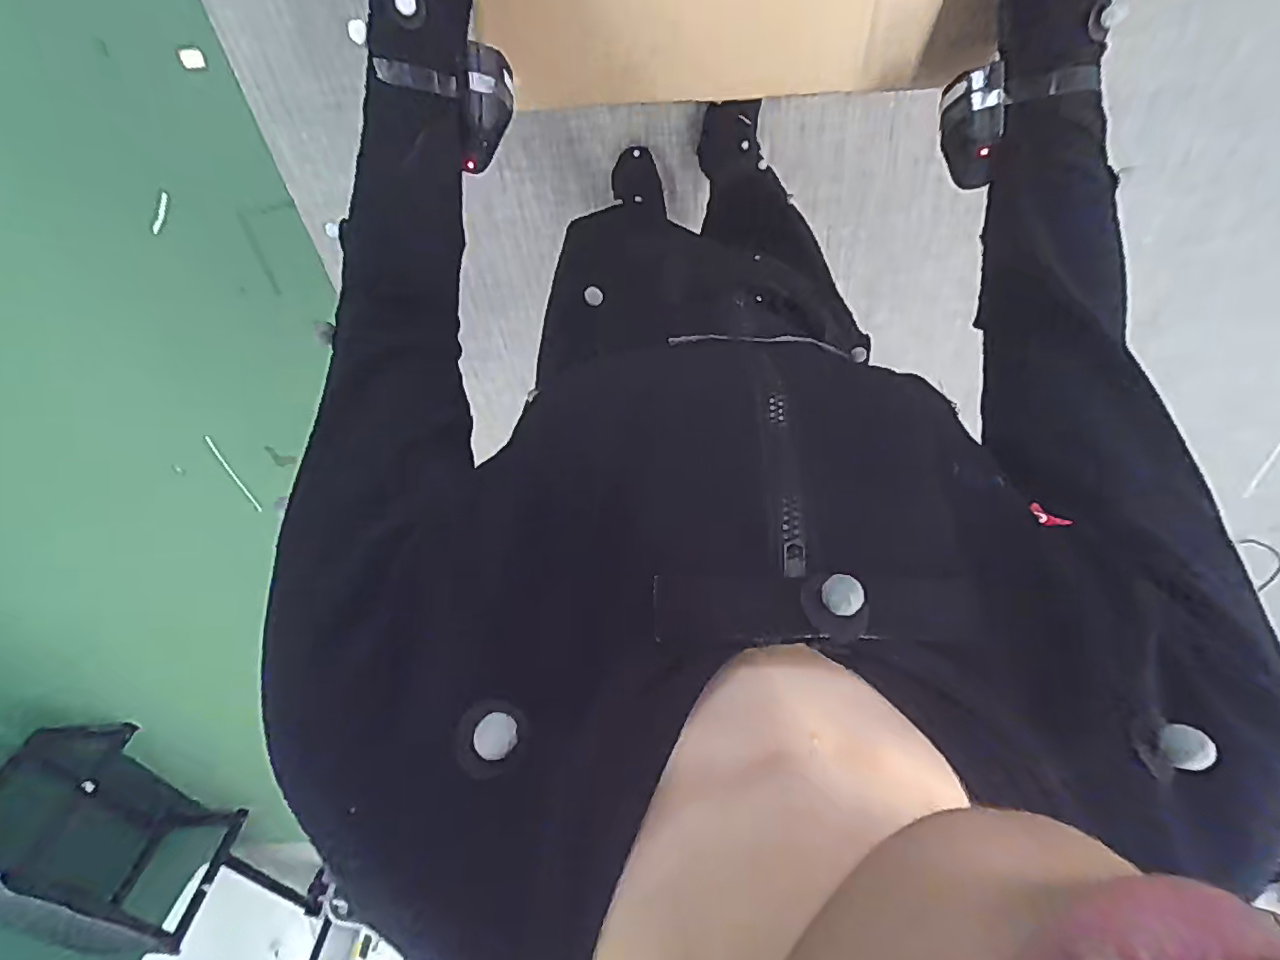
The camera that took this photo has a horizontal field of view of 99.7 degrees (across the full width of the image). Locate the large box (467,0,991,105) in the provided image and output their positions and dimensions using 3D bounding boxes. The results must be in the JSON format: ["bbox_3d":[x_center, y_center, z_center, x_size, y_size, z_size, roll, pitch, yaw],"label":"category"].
[{"bbox_3d":[0.067,-0.537,0.458,0.408,0.320,0.320,0,130,5],"label":"large box"}]
